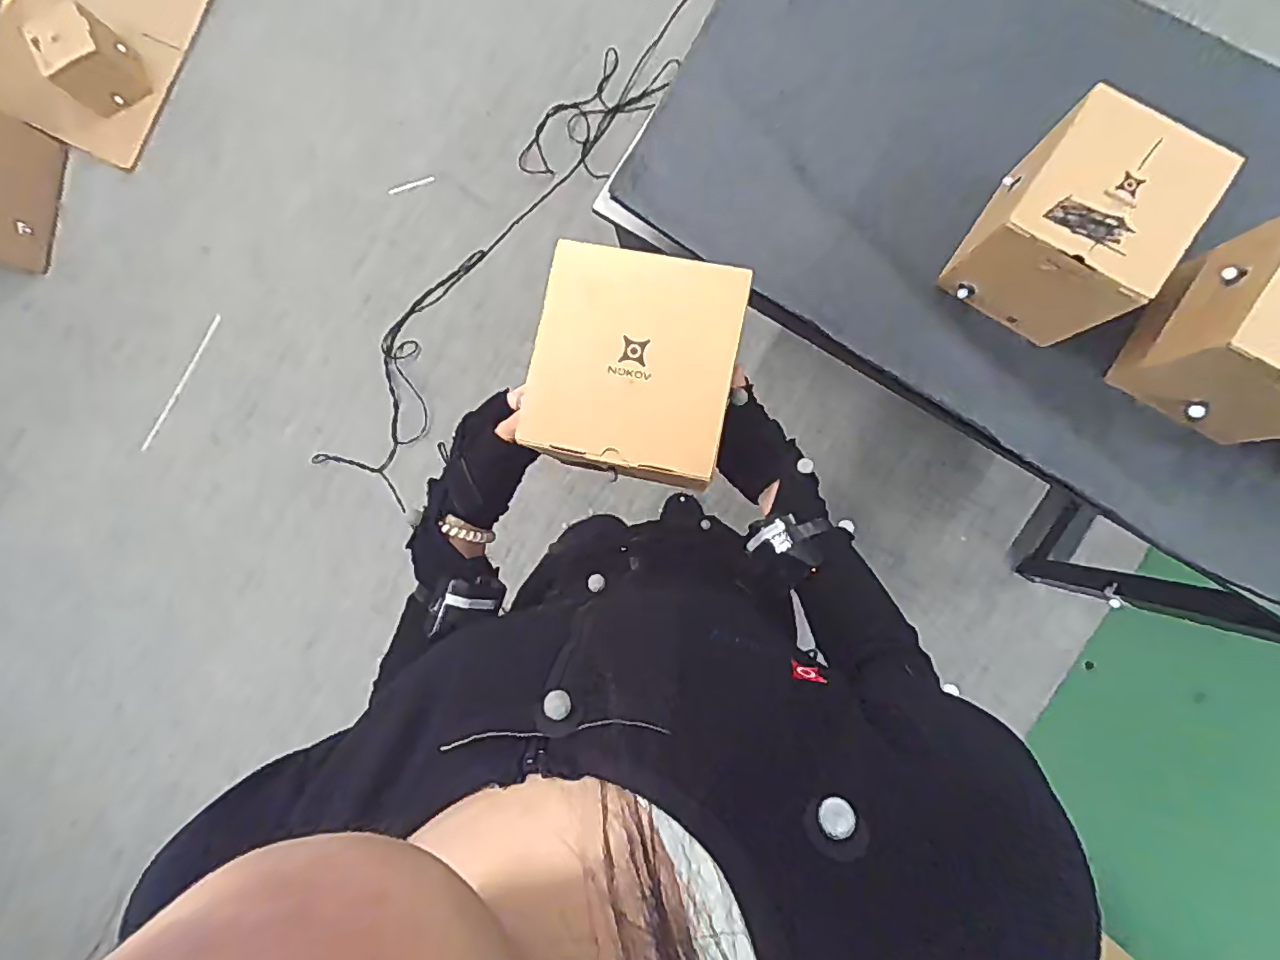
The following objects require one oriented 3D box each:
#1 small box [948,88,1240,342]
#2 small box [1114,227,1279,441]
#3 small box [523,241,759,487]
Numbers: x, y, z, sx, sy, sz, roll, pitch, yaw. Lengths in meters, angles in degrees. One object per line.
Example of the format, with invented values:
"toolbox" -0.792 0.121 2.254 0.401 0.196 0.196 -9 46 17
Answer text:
"small box" 0.503 -0.290 0.636 0.168 0.176 0.179 34 90 5
"small box" 0.708 -0.162 0.612 0.168 0.176 0.179 32 91 6
"small box" 0.005 -0.094 0.516 0.168 0.176 0.179 11 89 4
